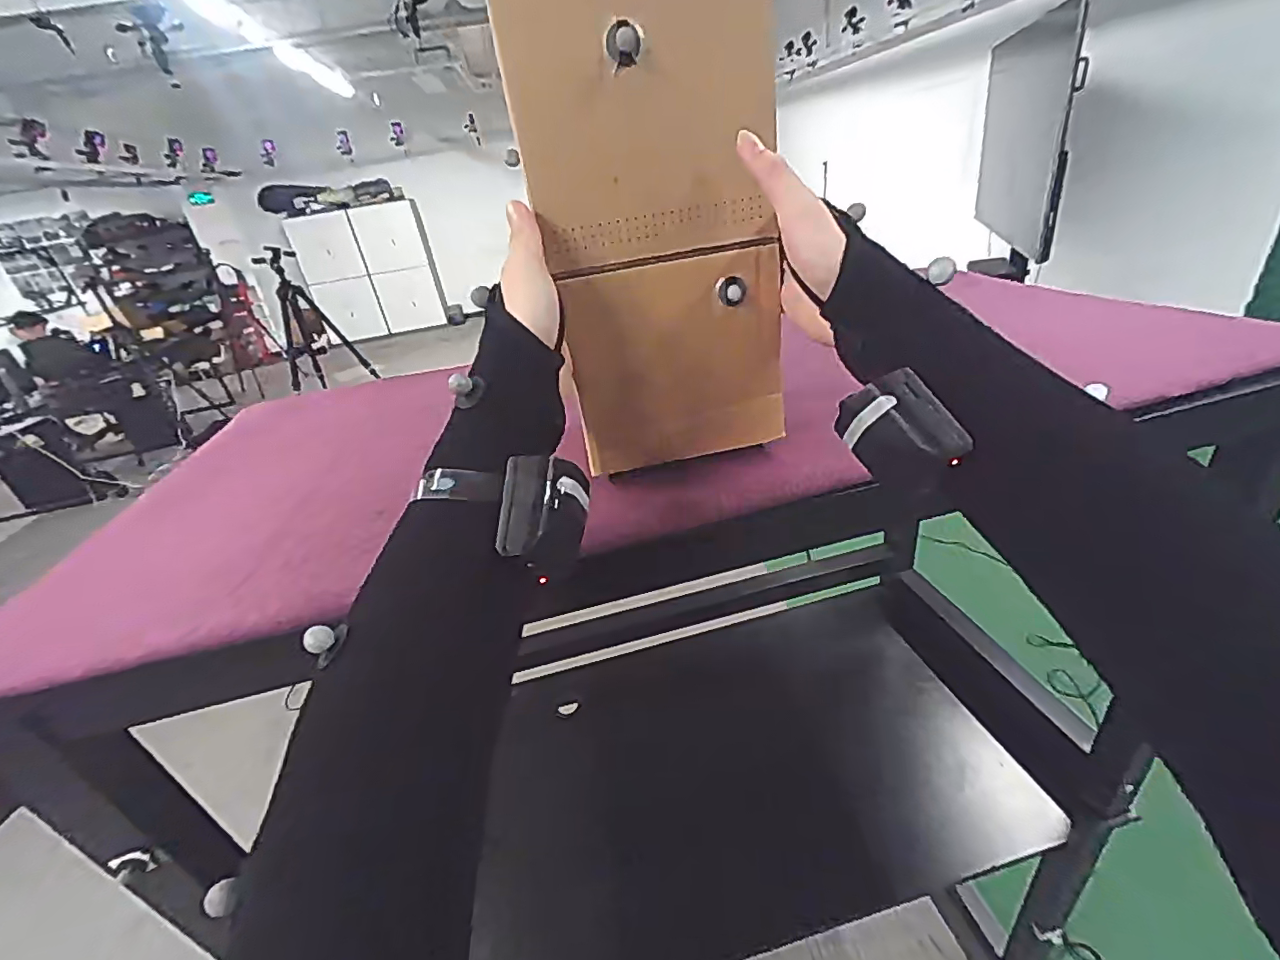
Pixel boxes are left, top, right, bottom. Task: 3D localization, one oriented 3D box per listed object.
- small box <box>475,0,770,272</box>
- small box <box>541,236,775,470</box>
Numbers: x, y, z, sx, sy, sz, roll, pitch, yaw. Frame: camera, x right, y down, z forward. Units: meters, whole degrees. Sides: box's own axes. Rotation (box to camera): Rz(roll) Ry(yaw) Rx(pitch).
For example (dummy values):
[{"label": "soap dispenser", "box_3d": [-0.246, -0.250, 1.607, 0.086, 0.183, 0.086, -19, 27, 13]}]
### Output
[{"label": "small box", "box_3d": [-0.009, -0.266, 0.417, 0.179, 0.176, 0.168, -11, 30, -3]}, {"label": "small box", "box_3d": [0.015, -0.124, 0.498, 0.179, 0.176, 0.168, -11, 29, -4]}]
